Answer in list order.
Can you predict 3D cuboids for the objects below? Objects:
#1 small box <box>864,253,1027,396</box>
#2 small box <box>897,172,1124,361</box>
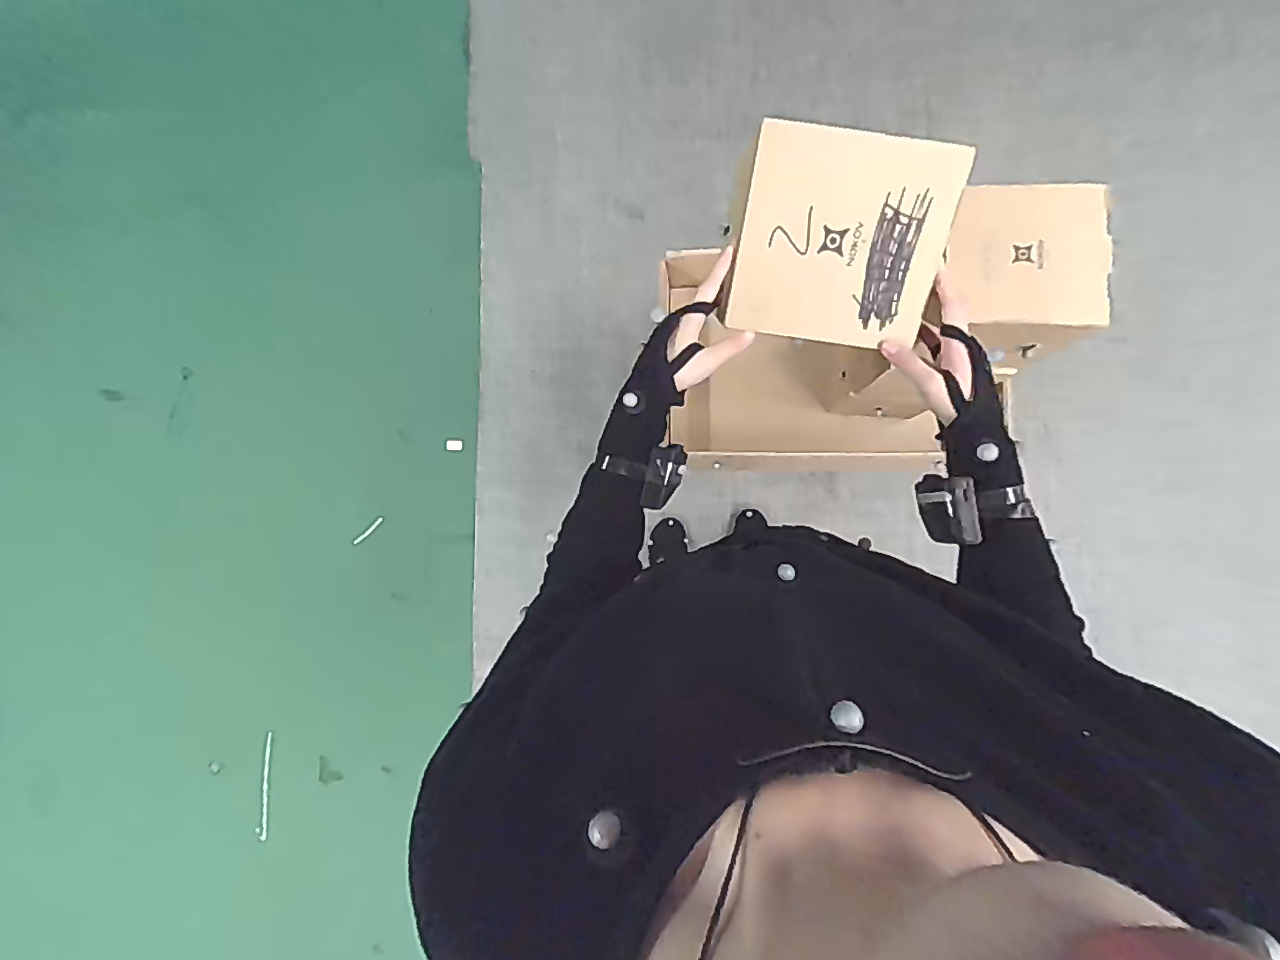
[{"bbox_3d":[0.458,-0.230,0.832,0.179,0.176,0.168,4,86,7],"label":"small box"},{"bbox_3d":[0.443,-0.252,0.671,0.179,0.176,0.168,4,86,8],"label":"small box"}]
